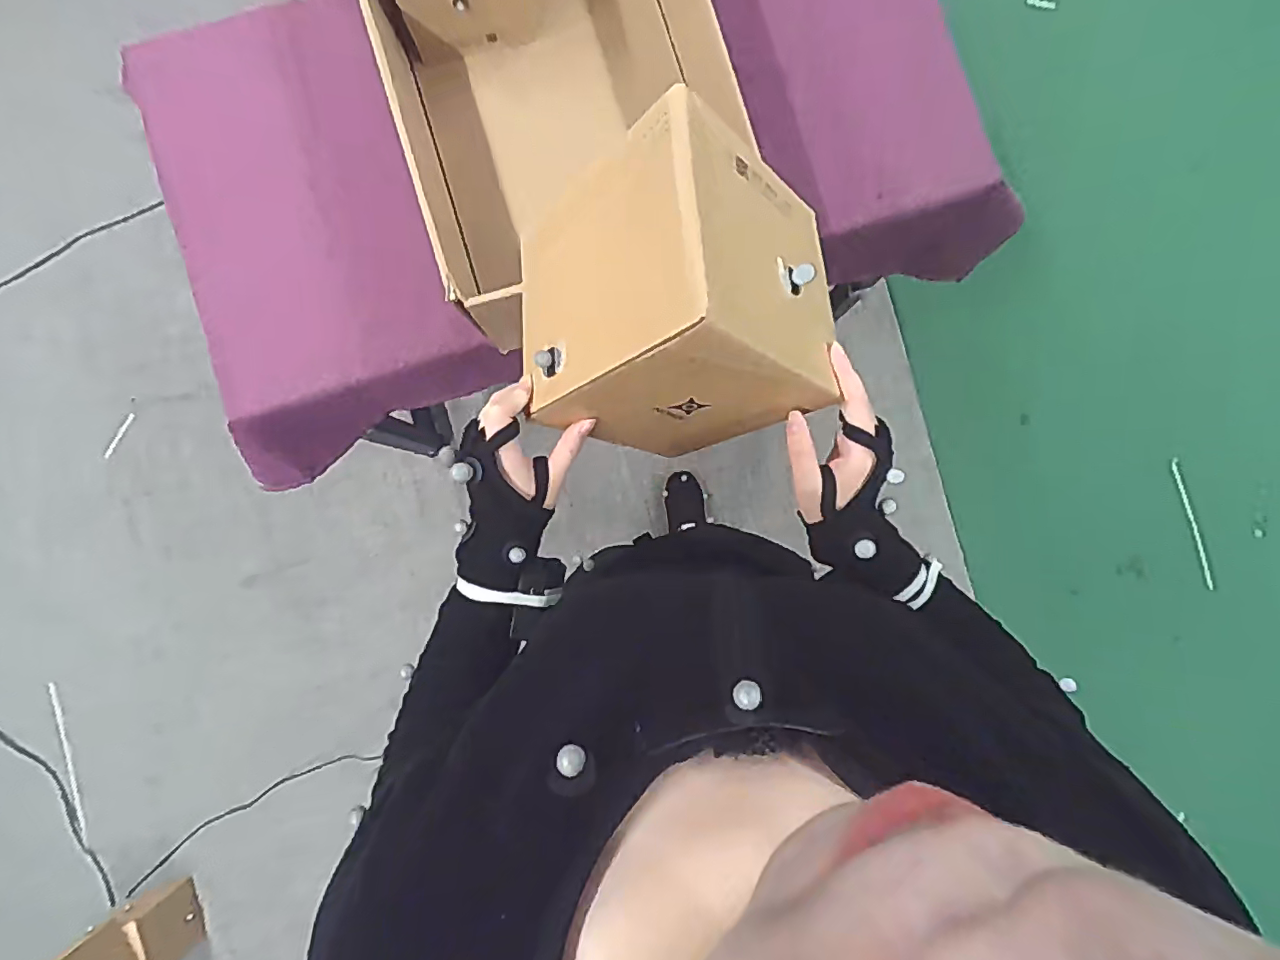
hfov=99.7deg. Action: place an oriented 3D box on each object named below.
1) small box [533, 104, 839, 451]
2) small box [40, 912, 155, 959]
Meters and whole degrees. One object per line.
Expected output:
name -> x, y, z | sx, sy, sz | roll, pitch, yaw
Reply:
small box -> 0.027, -0.136, 0.425 | 0.168, 0.179, 0.176 | 11, 70, -42
small box -> -1.268, 1.137, 1.227 | 0.168, 0.176, 0.179 | -27, 87, -1
